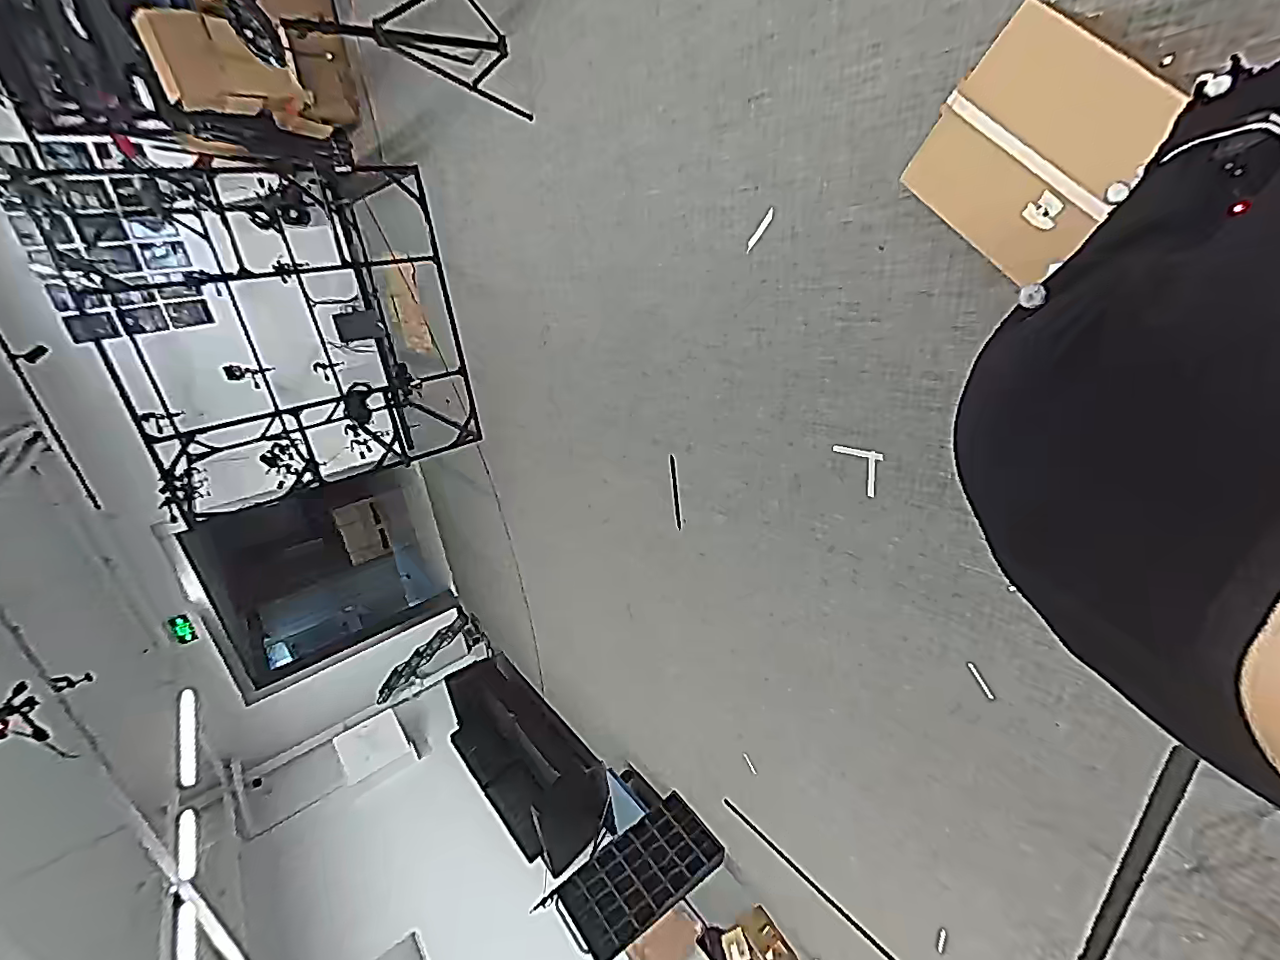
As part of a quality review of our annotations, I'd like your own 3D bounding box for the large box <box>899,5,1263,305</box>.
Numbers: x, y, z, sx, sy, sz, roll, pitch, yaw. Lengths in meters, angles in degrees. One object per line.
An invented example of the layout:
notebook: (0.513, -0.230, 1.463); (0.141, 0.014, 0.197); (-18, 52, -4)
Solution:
large box: (0.807, -0.604, 1.026); (0.408, 0.320, 0.320); (54, 146, 18)
